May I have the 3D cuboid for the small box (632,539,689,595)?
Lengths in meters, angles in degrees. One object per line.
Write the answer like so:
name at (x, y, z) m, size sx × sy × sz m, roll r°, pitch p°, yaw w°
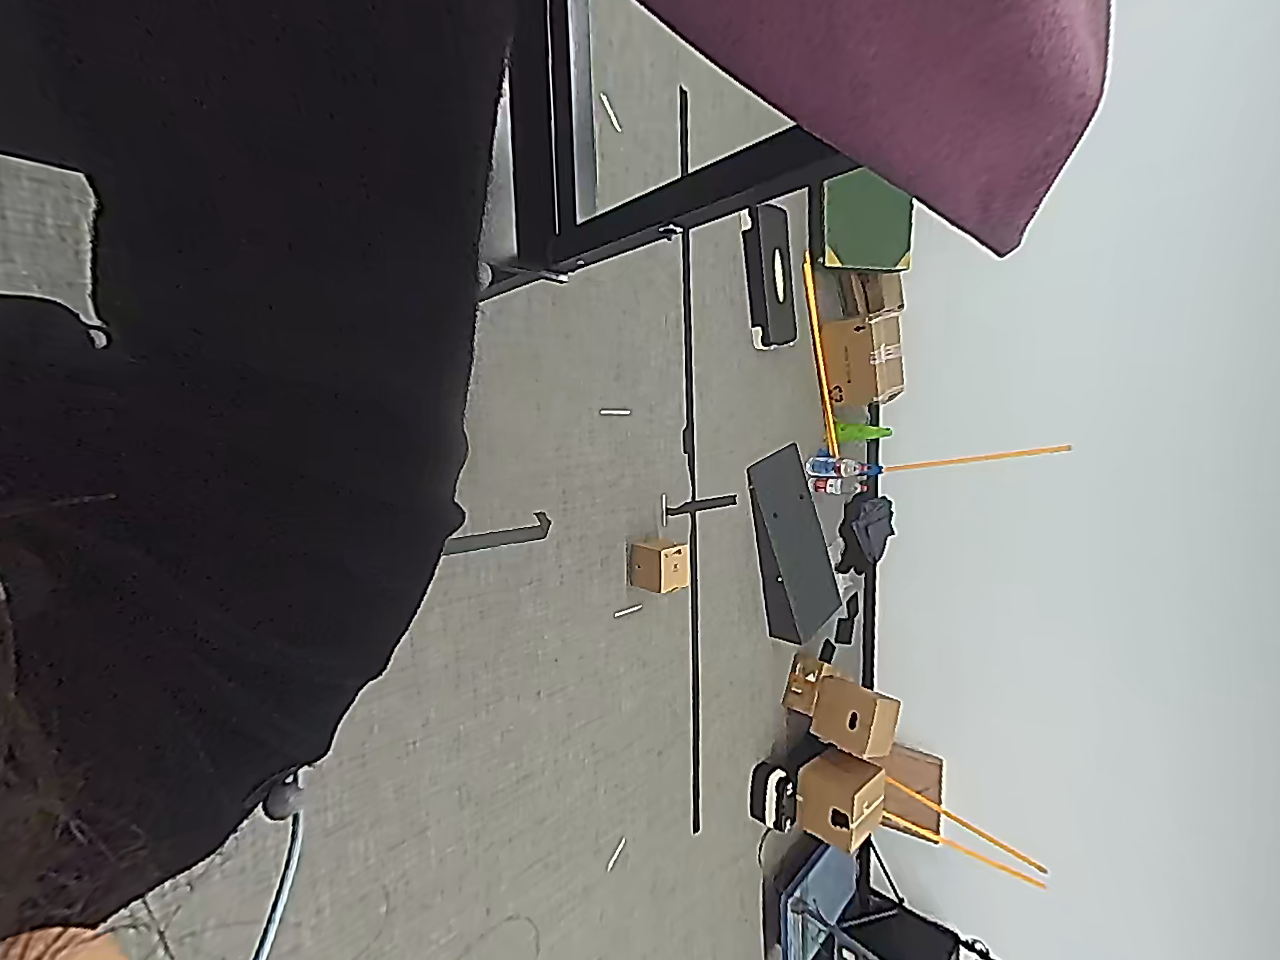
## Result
small box at (0.080, 0.345, 2.170) m, size 0.168 × 0.176 × 0.179 m, roll -5°, pitch 98°, yaw -45°
